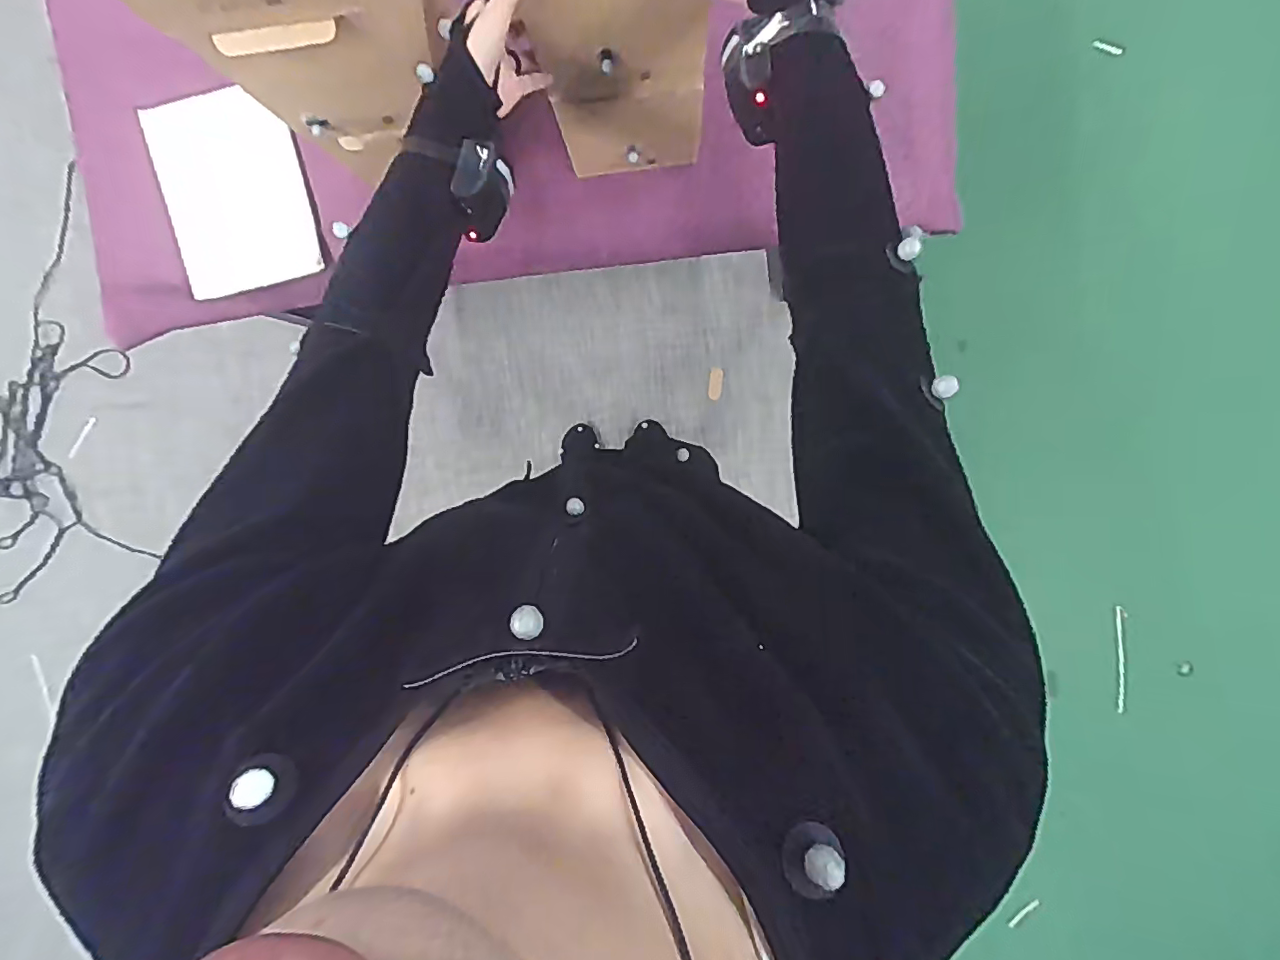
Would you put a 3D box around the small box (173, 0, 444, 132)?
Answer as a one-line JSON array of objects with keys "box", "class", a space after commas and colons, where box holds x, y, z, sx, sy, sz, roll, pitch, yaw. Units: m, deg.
[{"box": [-0.299, -0.458, 0.507, 0.168, 0.176, 0.179, -5, 94, 2], "class": "small box"}]

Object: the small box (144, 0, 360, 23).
[{"box": [-0.304, -0.438, 0.345, 0.168, 0.176, 0.179, -4, 95, 2], "class": "small box"}]

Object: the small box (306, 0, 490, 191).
[{"box": [-0.295, -0.480, 0.670, 0.168, 0.176, 0.179, -5, 96, 2], "class": "small box"}]

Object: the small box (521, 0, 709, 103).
[{"box": [-0.028, -0.492, 0.496, 0.168, 0.176, 0.179, -5, 95, 2], "class": "small box"}]

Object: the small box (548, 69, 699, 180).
[{"box": [-0.021, -0.501, 0.658, 0.168, 0.176, 0.179, -5, 95, 3], "class": "small box"}]
